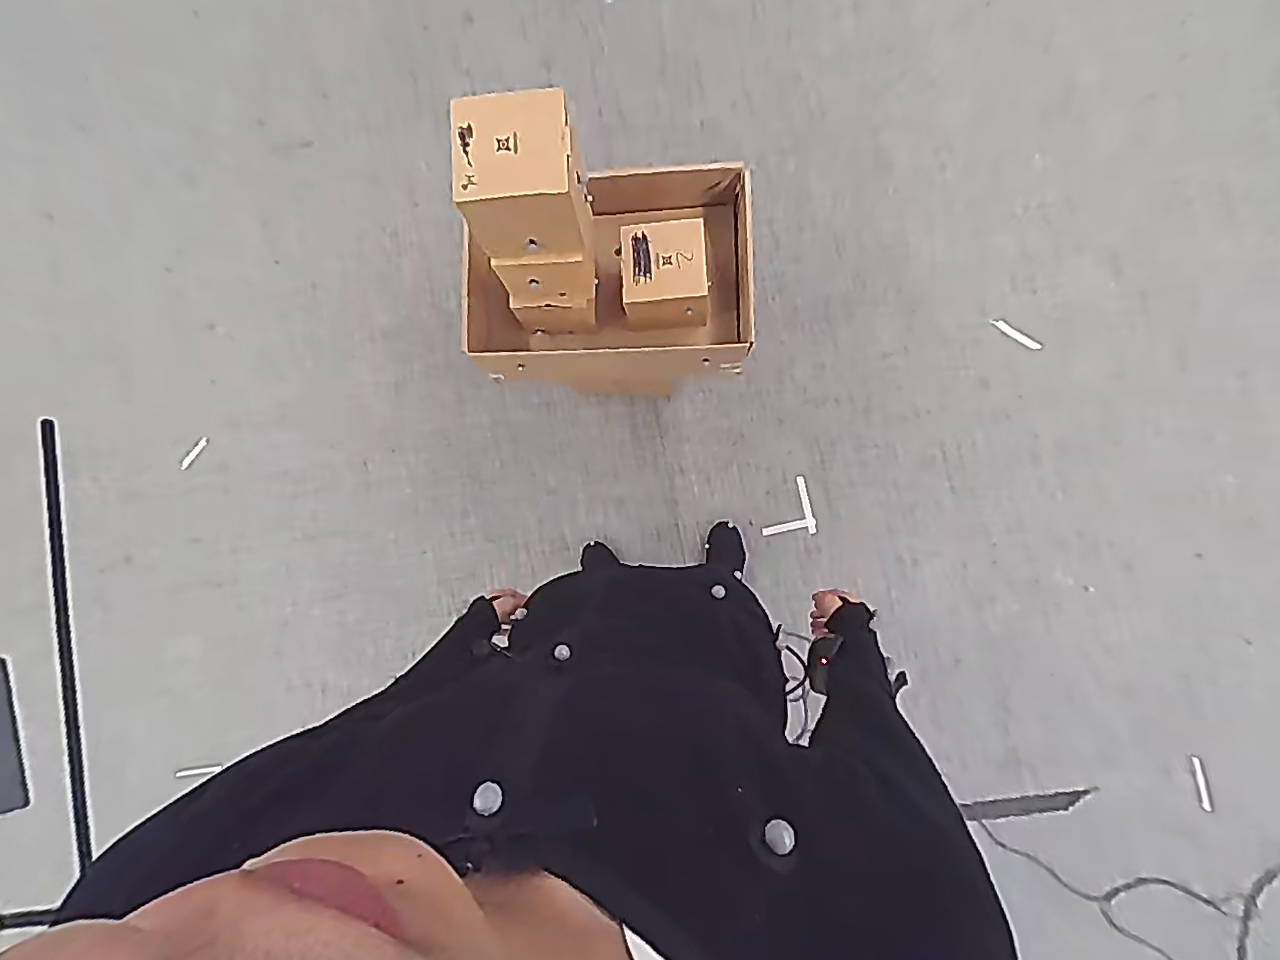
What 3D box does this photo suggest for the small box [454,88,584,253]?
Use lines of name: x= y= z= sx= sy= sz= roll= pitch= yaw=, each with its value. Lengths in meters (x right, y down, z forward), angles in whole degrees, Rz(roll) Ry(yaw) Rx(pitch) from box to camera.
small box: x=-0.184 y=-0.487 z=0.872 sx=0.179 sy=0.176 sz=0.168 roll=-3 pitch=84 yaw=2

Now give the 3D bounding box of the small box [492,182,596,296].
small box: x=-0.176 y=-0.464 z=1.034 sx=0.168 sy=0.176 sz=0.179 roll=-1 pitch=85 yaw=3
